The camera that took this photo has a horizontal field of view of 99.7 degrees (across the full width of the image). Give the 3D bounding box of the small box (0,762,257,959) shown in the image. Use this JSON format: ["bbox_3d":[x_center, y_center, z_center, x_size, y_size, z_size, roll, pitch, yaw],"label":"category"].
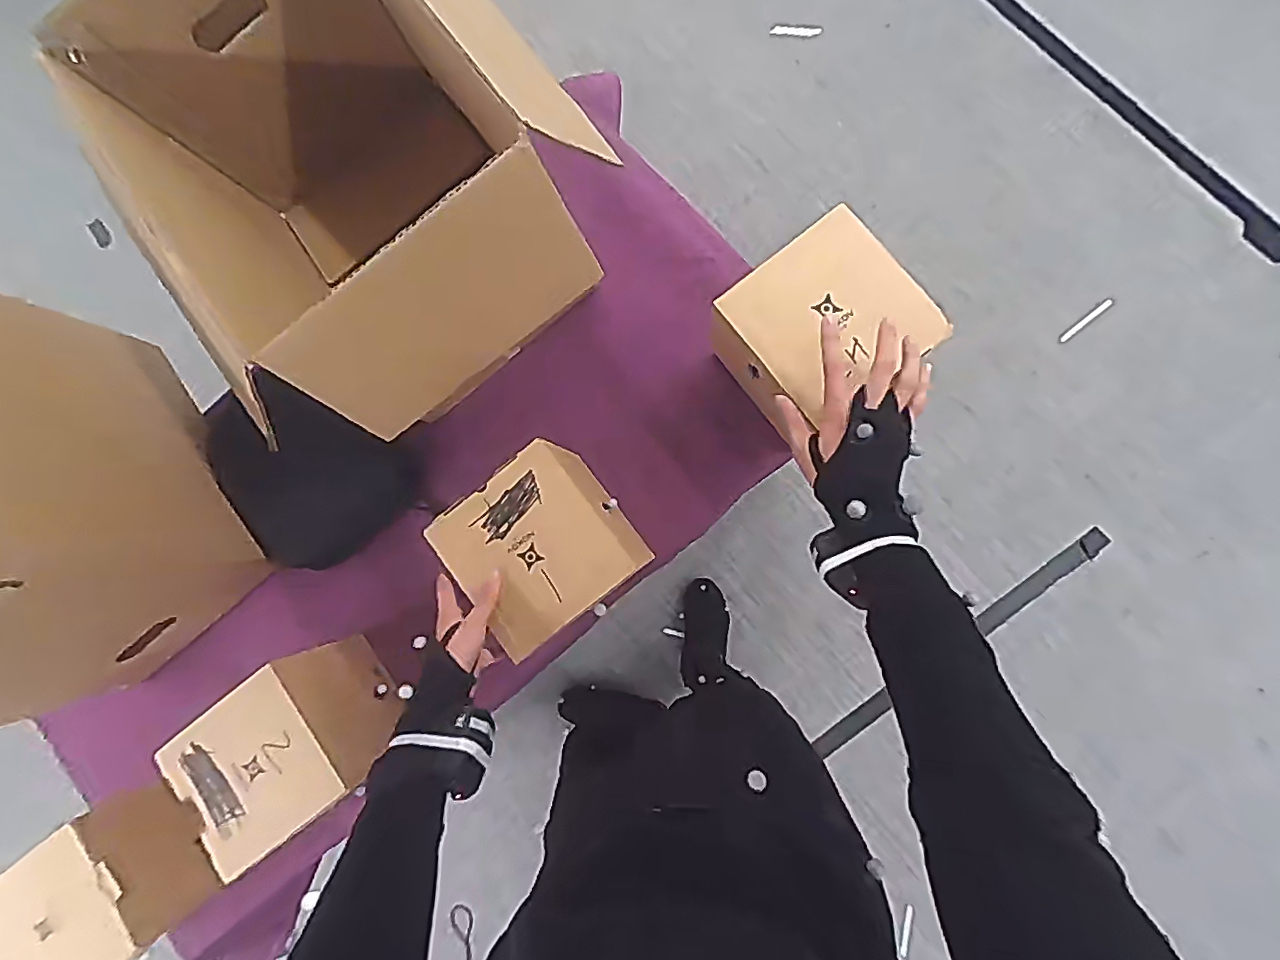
[{"bbox_3d":[-0.651,0.507,0.690,0.179,0.176,0.168,-38,82,2],"label":"small box"}]

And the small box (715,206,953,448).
[{"bbox_3d":[0.200,-0.156,0.616,0.168,0.176,0.179,-37,82,5],"label":"small box"}]
